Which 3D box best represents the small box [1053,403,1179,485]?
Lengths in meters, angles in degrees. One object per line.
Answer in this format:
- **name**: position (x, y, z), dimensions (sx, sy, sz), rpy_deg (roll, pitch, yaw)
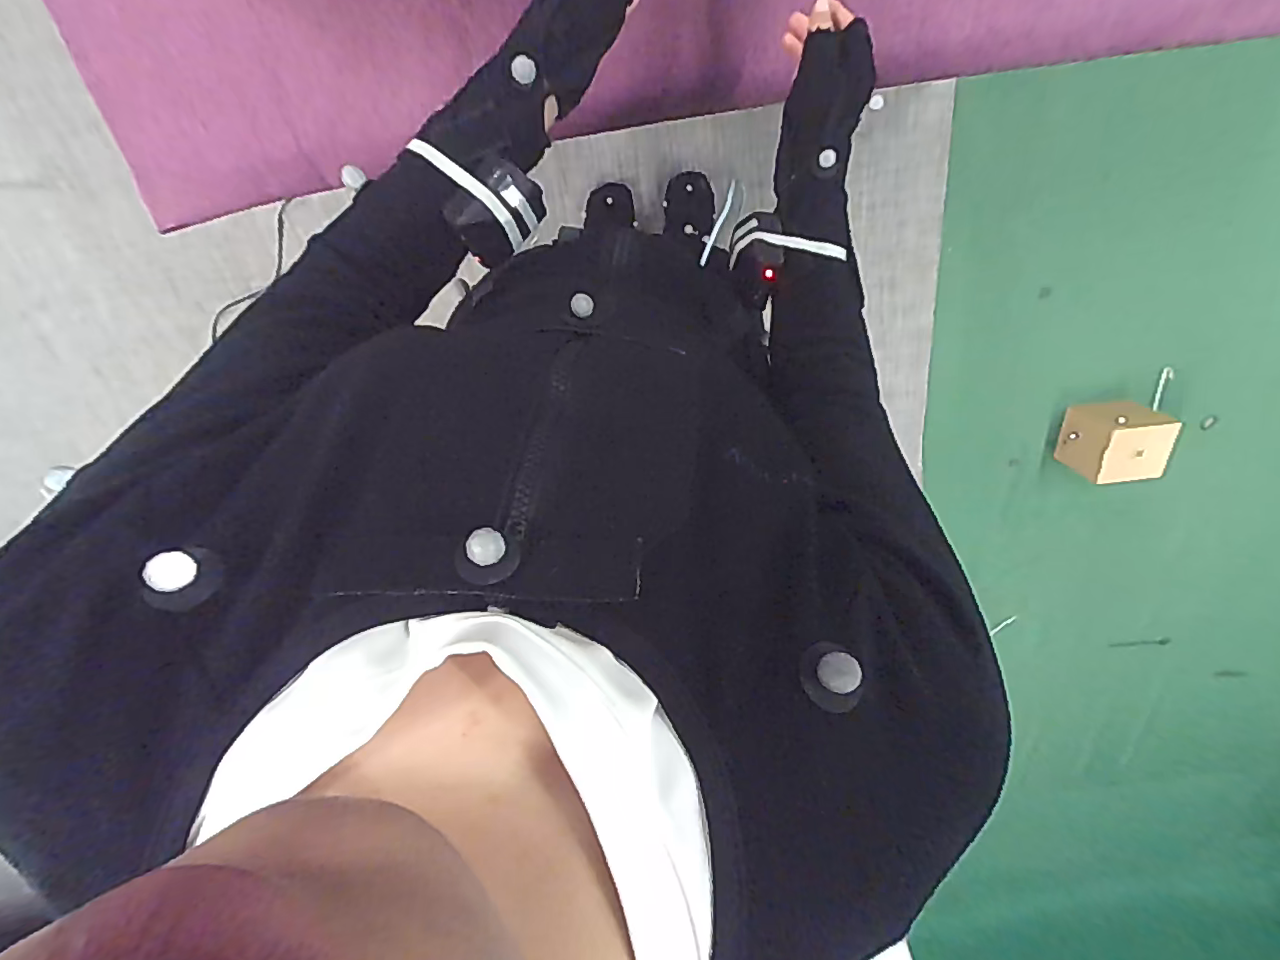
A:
- **small box**: position (1.310, -0.105, 1.503), dimensions (0.179, 0.176, 0.168), rpy_deg (-6, 119, 2)
